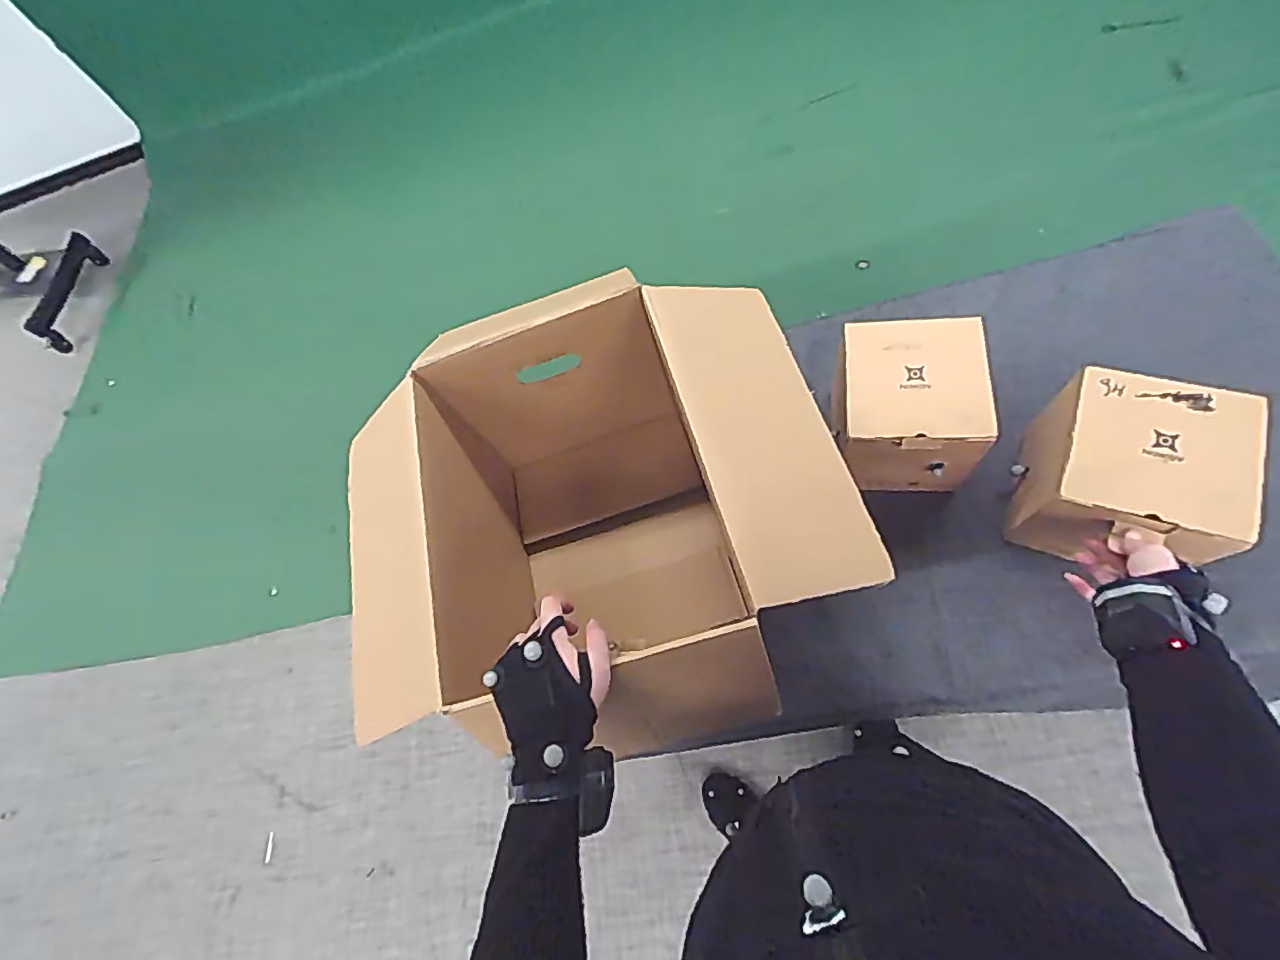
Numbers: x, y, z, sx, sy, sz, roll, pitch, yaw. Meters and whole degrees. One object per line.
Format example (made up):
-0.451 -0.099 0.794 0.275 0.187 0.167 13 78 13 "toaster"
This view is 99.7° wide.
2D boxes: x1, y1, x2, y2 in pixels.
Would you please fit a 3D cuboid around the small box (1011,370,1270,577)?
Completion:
0.582 0.000 0.654 0.168 0.176 0.179 19 74 20 "small box"
